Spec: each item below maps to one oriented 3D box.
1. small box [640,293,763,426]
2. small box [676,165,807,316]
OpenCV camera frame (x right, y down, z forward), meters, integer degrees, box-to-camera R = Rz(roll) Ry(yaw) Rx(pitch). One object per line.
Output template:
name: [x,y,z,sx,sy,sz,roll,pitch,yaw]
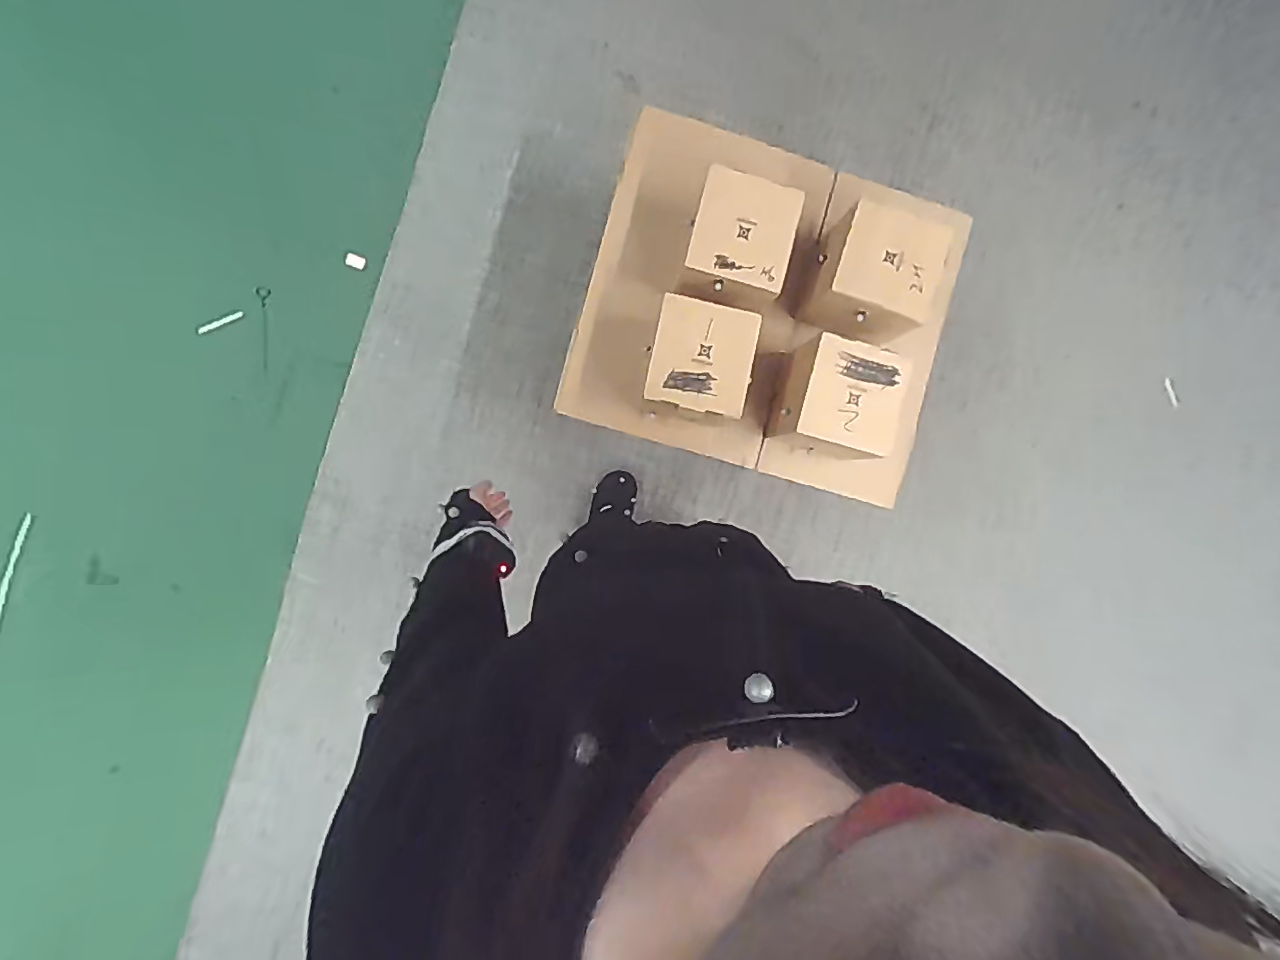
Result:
small box: [0.097,-0.198,0.946,0.168,0.176,0.179,12,89,-4]
small box: [0.167,-0.402,0.949,0.168,0.176,0.179,15,88,-3]
